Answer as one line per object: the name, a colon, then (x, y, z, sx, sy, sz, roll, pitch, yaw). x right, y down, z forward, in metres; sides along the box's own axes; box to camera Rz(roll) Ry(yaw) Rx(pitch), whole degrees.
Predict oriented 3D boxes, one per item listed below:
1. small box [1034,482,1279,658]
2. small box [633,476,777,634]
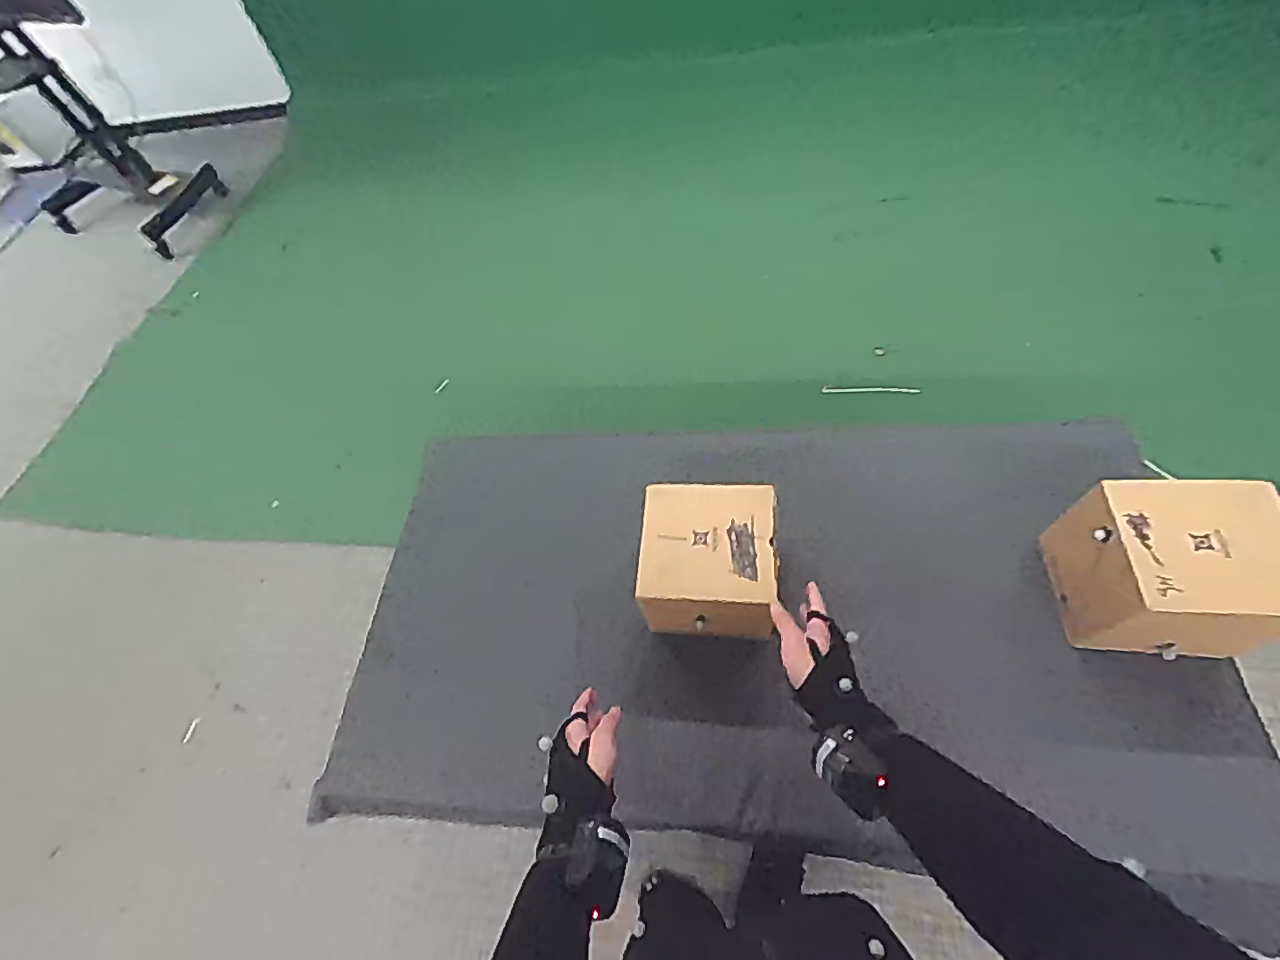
small box: (0.648, 0.119, 0.681, 0.179, 0.176, 0.168, 3, 60, 9)
small box: (0.094, 0.110, 0.760, 0.179, 0.176, 0.168, 2, 59, 10)
